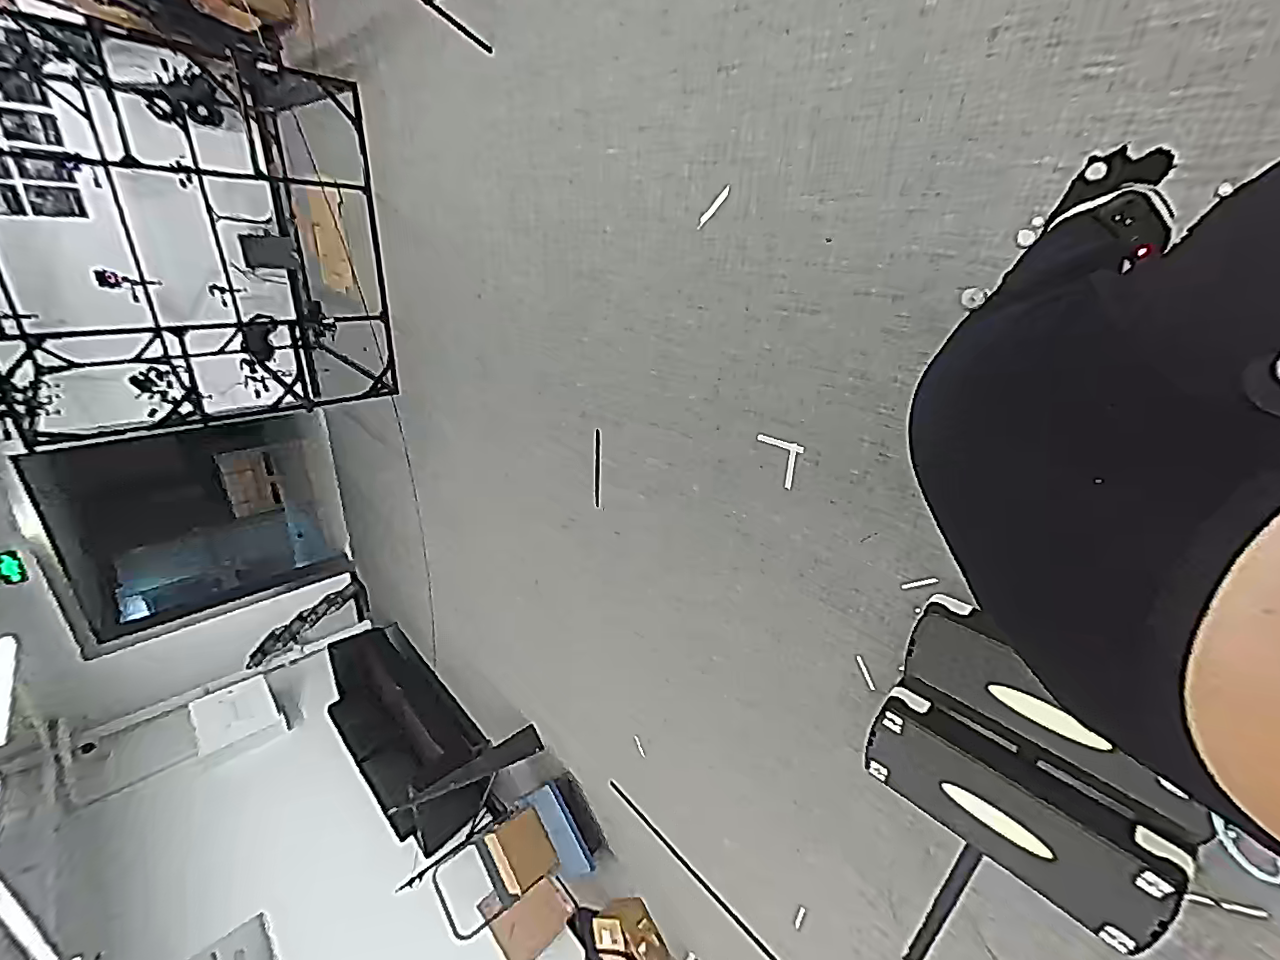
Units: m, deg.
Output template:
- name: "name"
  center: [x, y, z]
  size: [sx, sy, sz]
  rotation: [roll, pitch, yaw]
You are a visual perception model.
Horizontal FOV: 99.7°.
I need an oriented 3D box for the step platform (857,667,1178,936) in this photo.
- name: "step platform"
  center: [0.946, 0.815, 1.447]
  size: [0.684, 0.204, 0.286]
  rotation: [26, 123, 42]
